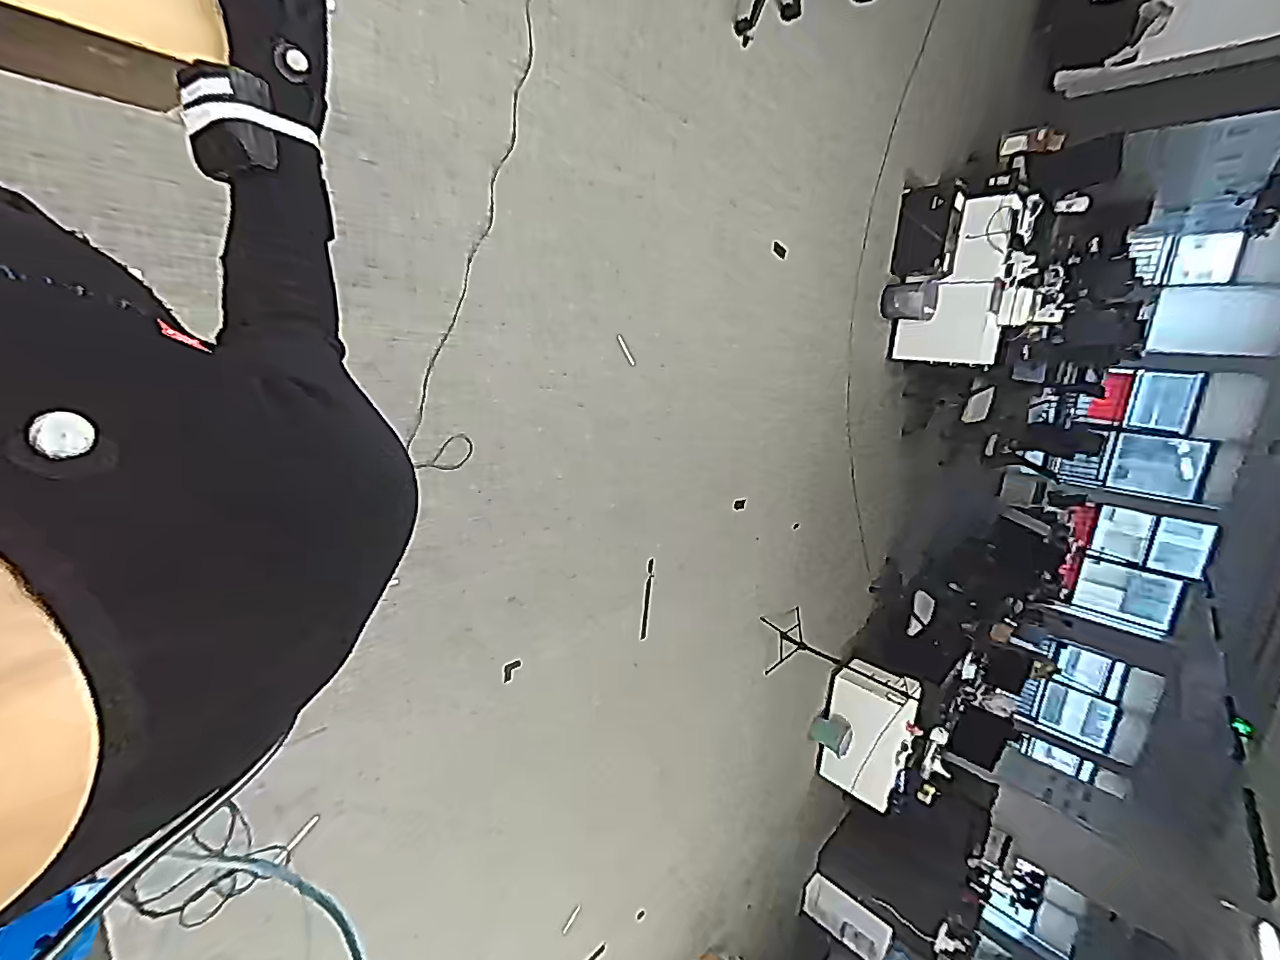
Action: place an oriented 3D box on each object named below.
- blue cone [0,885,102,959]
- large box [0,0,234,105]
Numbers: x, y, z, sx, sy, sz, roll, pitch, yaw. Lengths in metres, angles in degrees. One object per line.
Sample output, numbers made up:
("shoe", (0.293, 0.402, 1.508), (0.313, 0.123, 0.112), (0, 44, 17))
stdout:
("blue cone", (-1.209, 1.029, 1.071), (0.193, 0.380, 0.192), (20, 88, -47))
("large box", (-0.528, -0.471, 0.307), (0.408, 0.320, 0.320), (-12, 118, -47))
